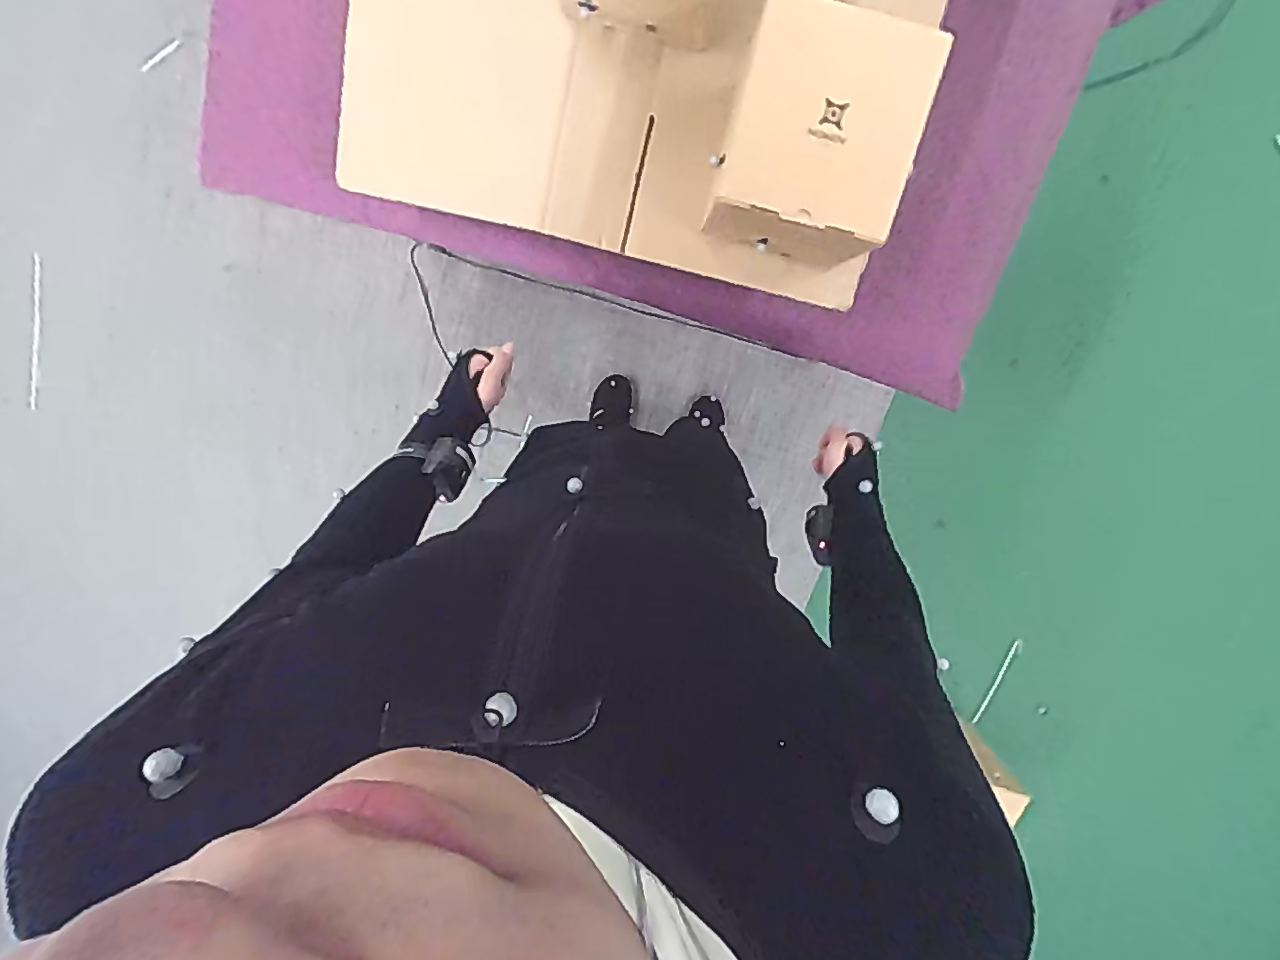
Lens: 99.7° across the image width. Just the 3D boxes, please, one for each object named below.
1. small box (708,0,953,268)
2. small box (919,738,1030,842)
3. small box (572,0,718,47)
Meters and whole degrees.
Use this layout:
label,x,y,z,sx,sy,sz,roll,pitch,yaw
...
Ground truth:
label,x,y,z,sx,sy,sz,roll,pitch,yaw
small box,0.175,-0.338,0.562,0.168,0.176,0.179,13,104,-3
small box,0.934,0.867,1.527,0.179,0.176,0.168,19,103,-1
small box,0.013,-0.560,0.507,0.168,0.176,0.179,13,102,-3
